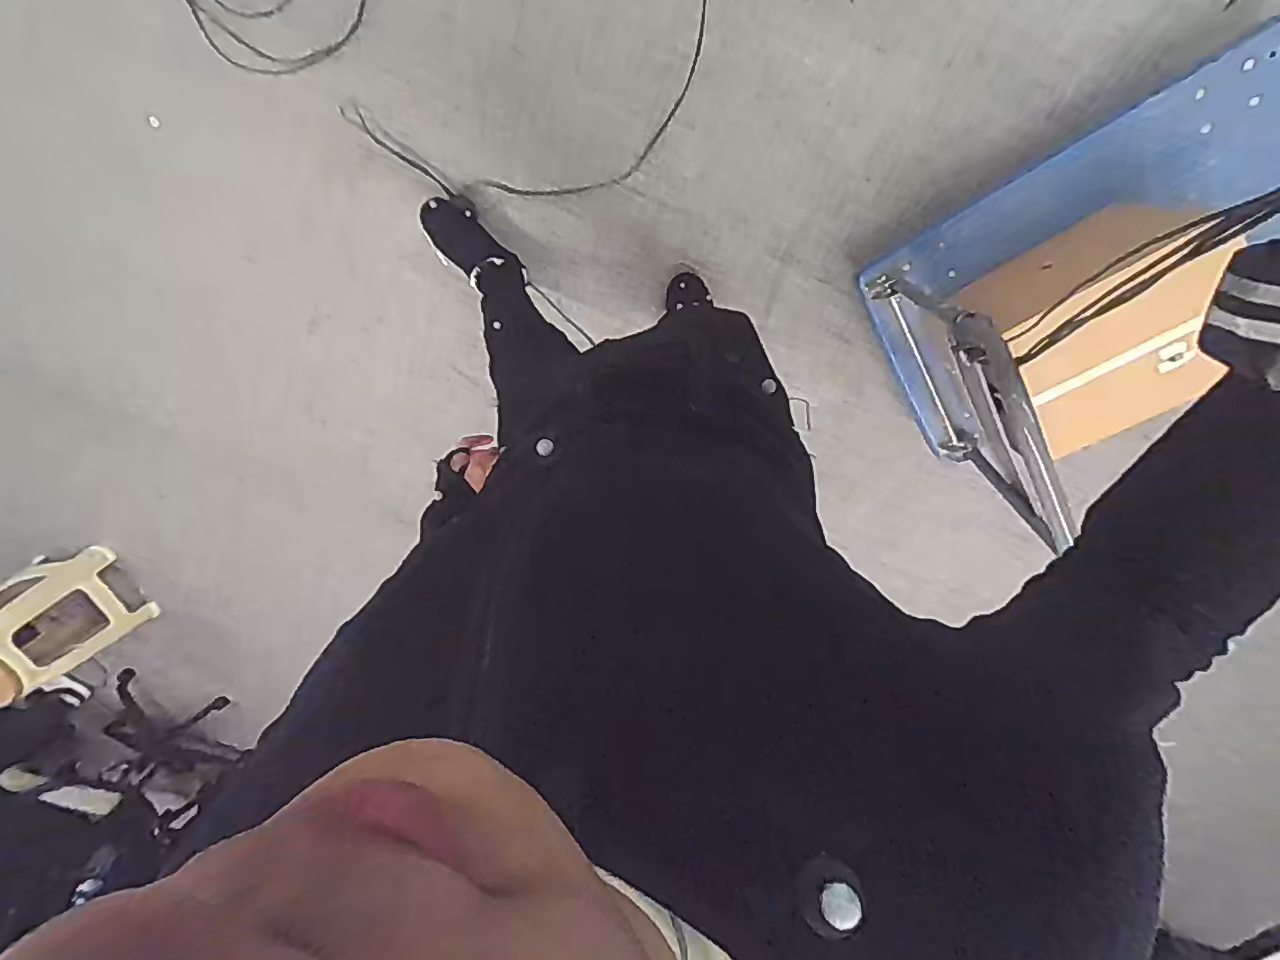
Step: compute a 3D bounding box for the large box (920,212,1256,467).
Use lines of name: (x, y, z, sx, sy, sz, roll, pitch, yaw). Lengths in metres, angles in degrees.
large box: (0.888, -0.298, 1.127, 0.408, 0.320, 0.320, -29, 113, 17)
